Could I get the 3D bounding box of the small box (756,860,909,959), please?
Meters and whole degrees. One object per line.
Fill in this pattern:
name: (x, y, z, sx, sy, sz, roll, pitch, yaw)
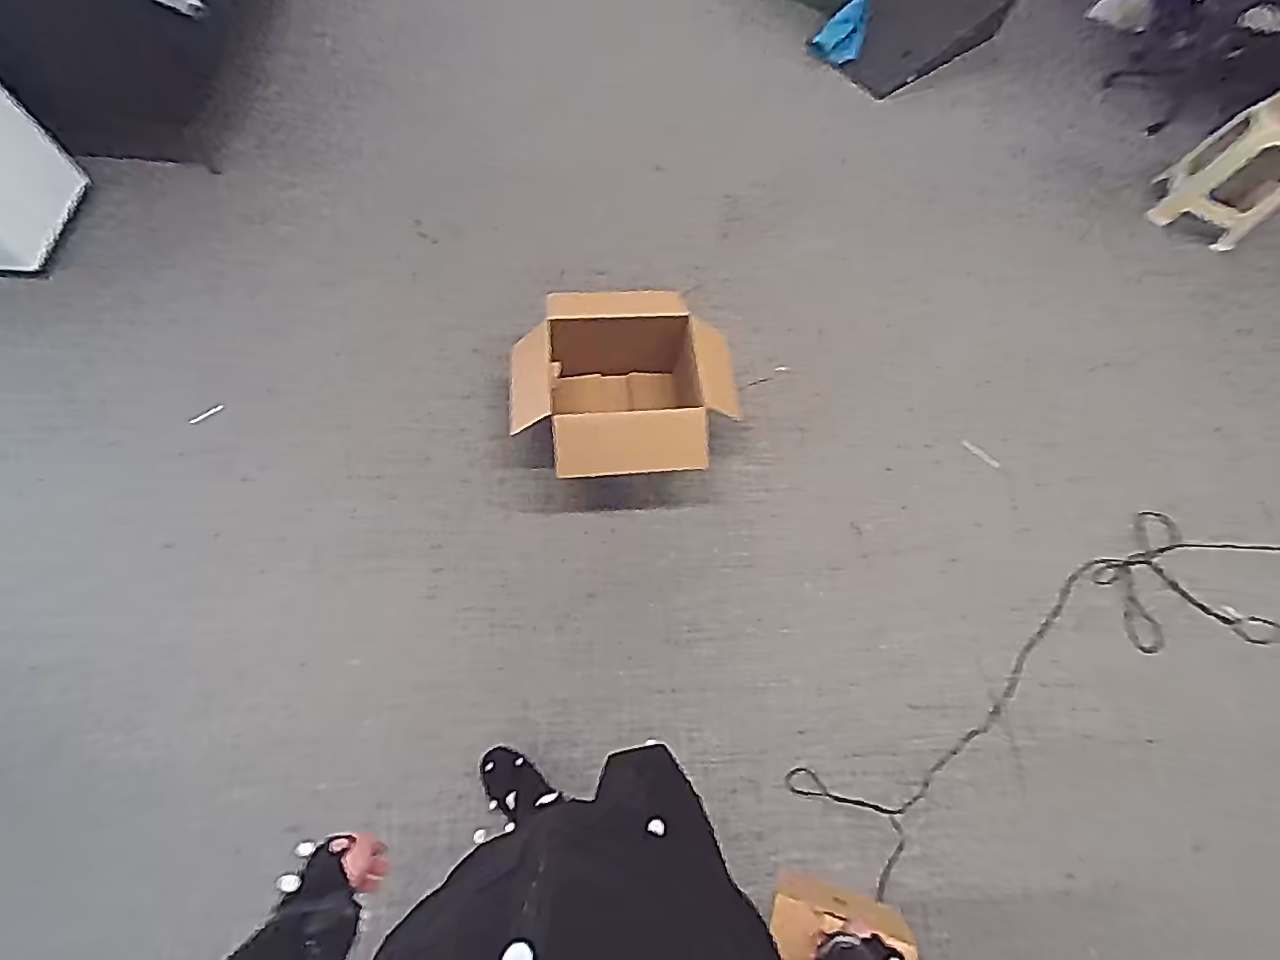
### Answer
small box: (0.237, 0.634, 0.700, 0.168, 0.179, 0.176, 11, 68, 20)
